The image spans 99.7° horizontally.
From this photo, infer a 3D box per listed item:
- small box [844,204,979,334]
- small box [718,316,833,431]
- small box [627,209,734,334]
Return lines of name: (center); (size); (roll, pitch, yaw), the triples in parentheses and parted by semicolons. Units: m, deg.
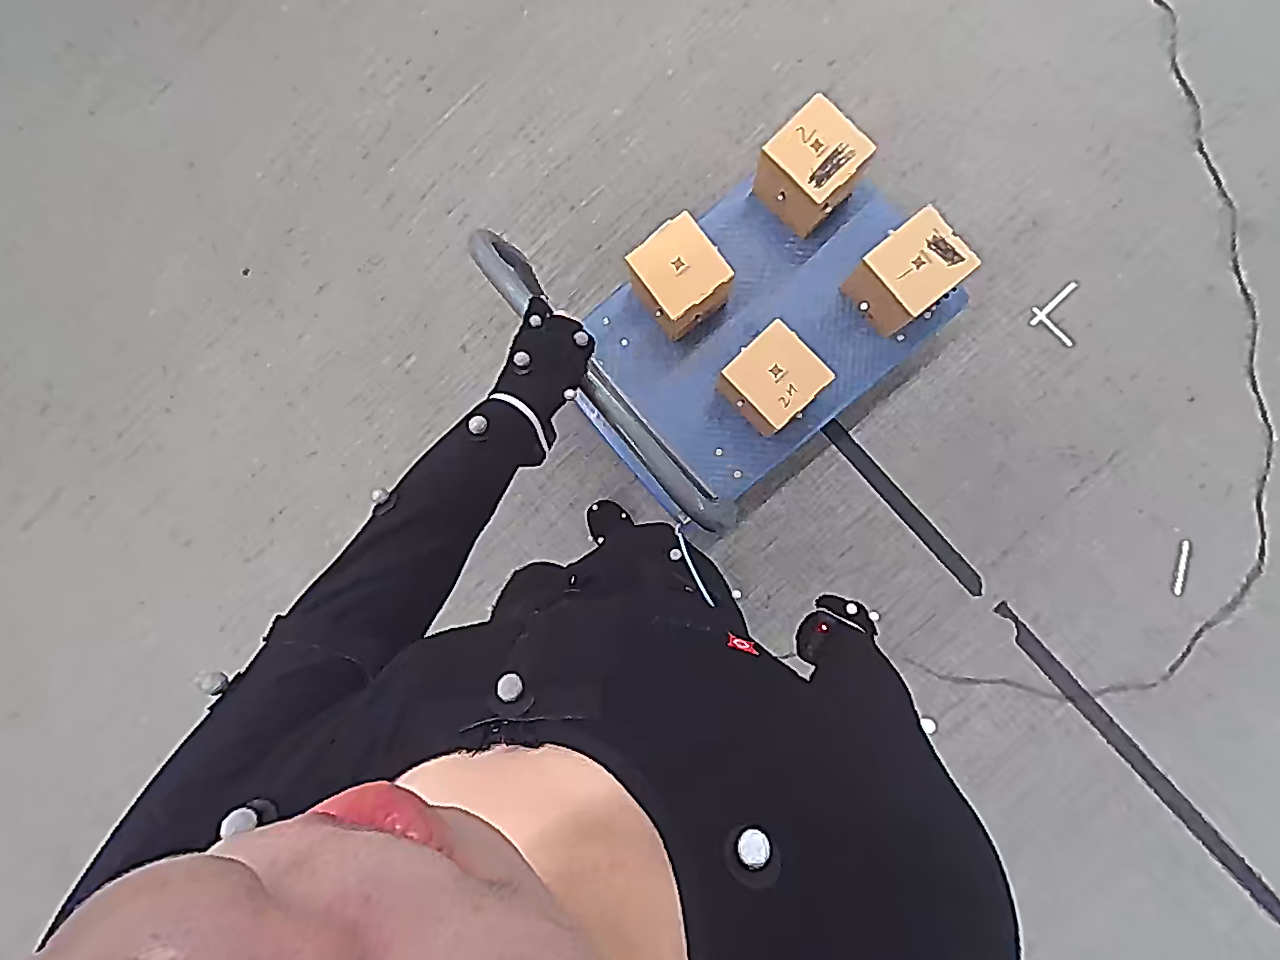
small box: (0.583, -0.453, 1.188); (0.179, 0.176, 0.168); (-39, 87, 4)
small box: (0.291, -0.226, 1.206); (0.168, 0.176, 0.179); (-43, 87, 3)
small box: (0.088, -0.460, 1.222); (0.168, 0.176, 0.179); (-37, 89, 2)
